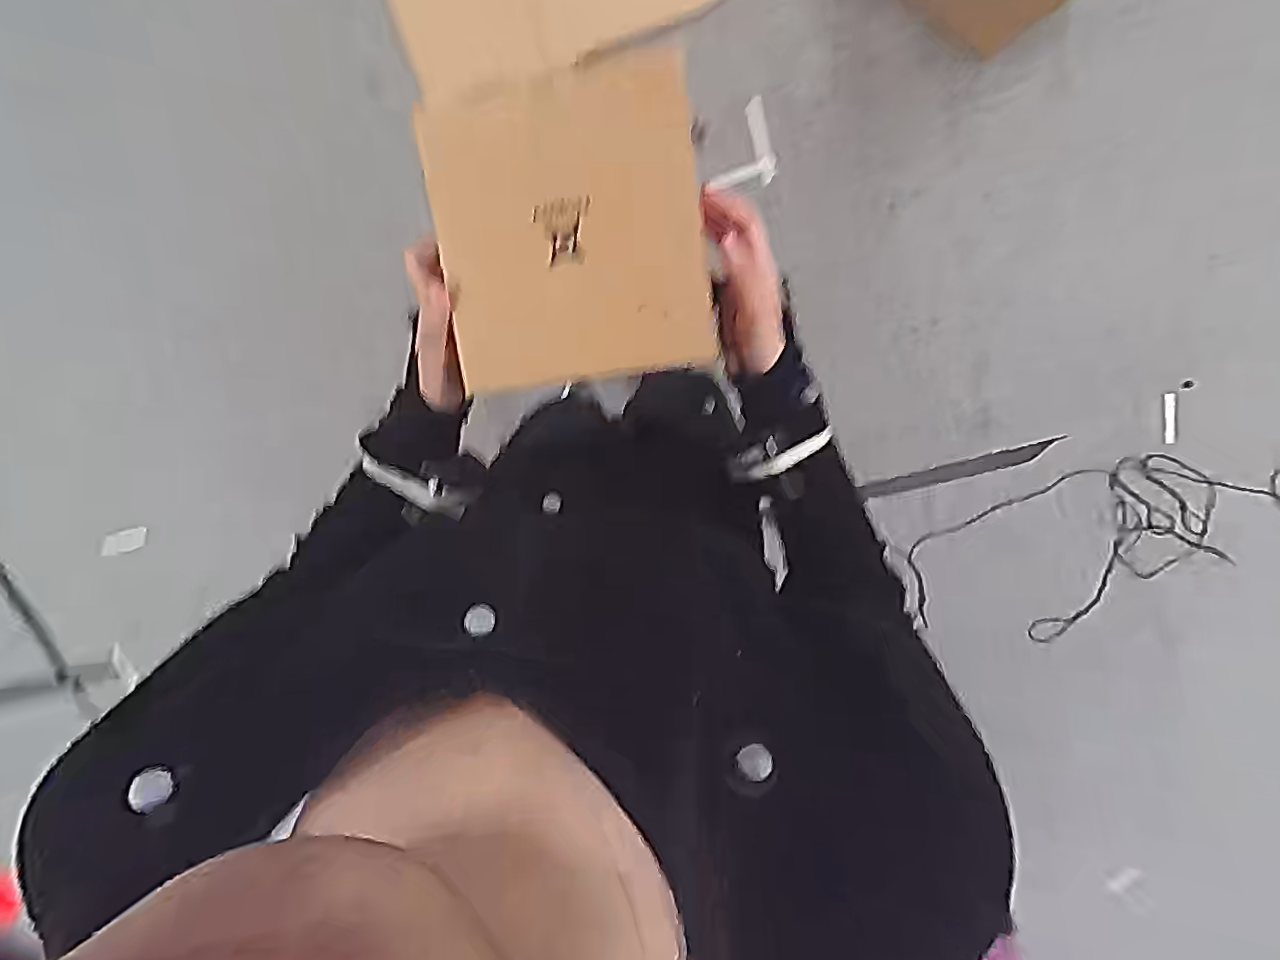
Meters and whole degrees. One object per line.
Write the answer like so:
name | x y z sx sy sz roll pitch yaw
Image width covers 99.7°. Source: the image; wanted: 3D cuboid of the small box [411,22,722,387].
small box | -0.031 -0.171 0.398 0.168 0.176 0.179 -7 100 11
